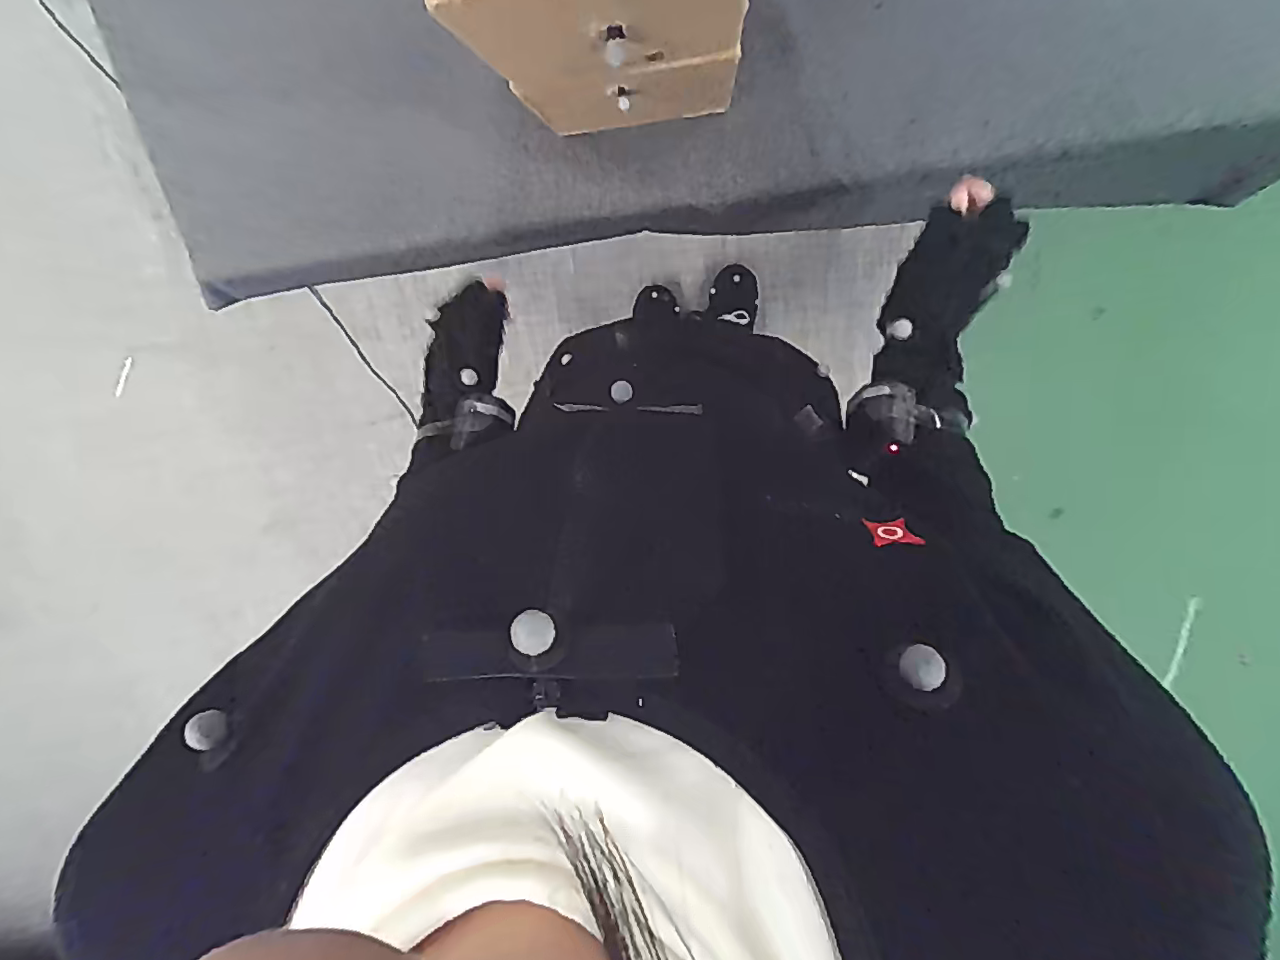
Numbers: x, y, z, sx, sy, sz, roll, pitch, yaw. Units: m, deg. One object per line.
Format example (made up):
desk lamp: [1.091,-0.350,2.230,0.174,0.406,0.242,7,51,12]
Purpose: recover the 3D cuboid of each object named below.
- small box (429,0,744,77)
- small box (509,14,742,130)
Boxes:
small box: [-0.028,-0.350,0.294,0.168,0.176,0.179,-5,113,9]
small box: [-0.012,-0.408,0.446,0.179,0.176,0.168,-4,113,7]
